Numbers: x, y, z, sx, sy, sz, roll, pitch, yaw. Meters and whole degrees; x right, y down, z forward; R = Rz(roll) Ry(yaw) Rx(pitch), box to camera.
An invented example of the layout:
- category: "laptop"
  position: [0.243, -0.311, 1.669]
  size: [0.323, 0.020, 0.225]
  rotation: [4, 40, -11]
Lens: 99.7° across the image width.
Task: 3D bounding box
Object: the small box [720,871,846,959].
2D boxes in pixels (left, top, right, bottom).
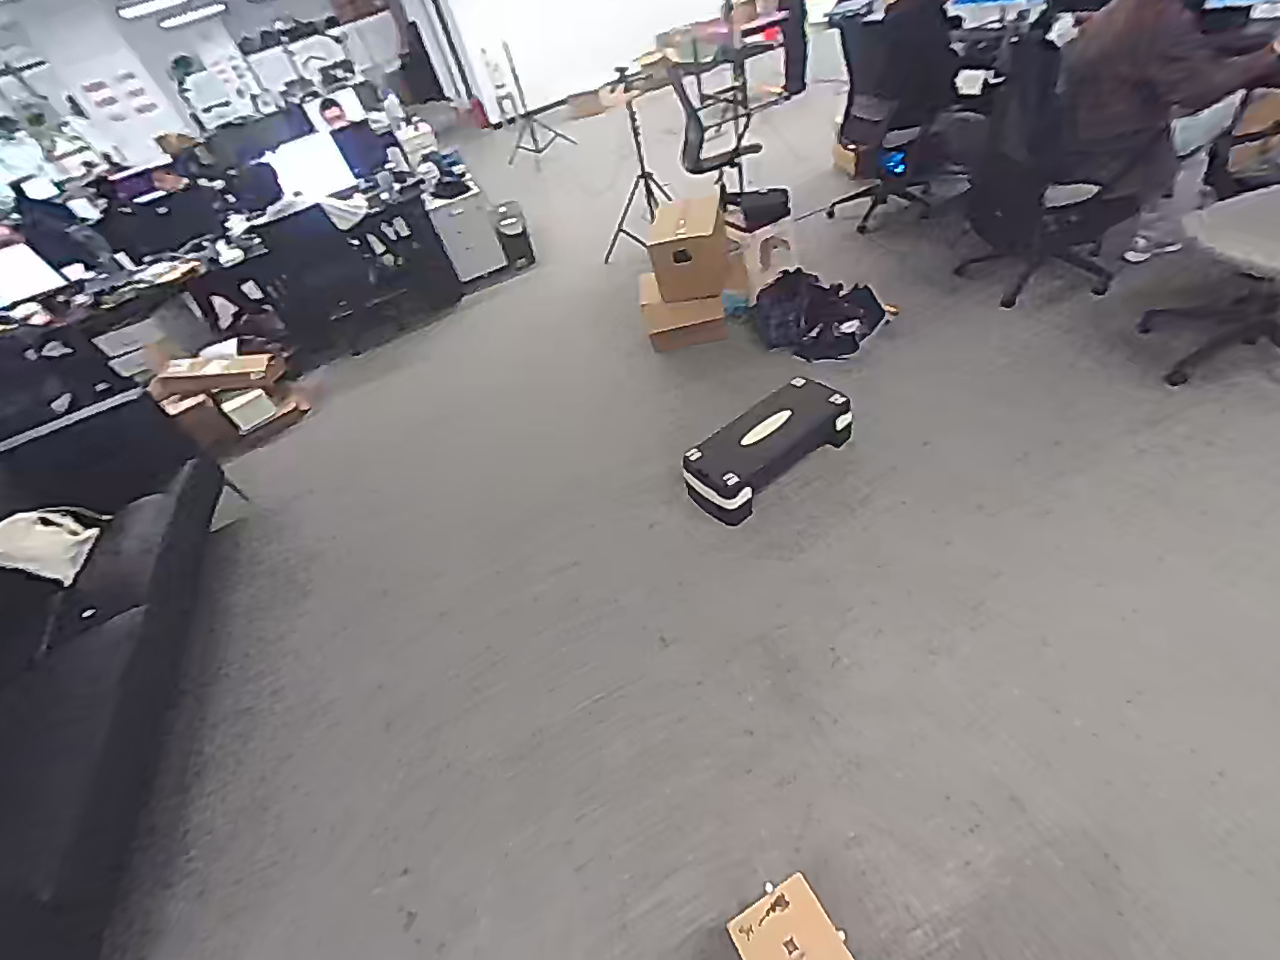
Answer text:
- category: "small box"
  position: [0.270, 0.864, 0.988]
  size: [0.168, 0.176, 0.179]
  rotation: [-28, 45, -10]
